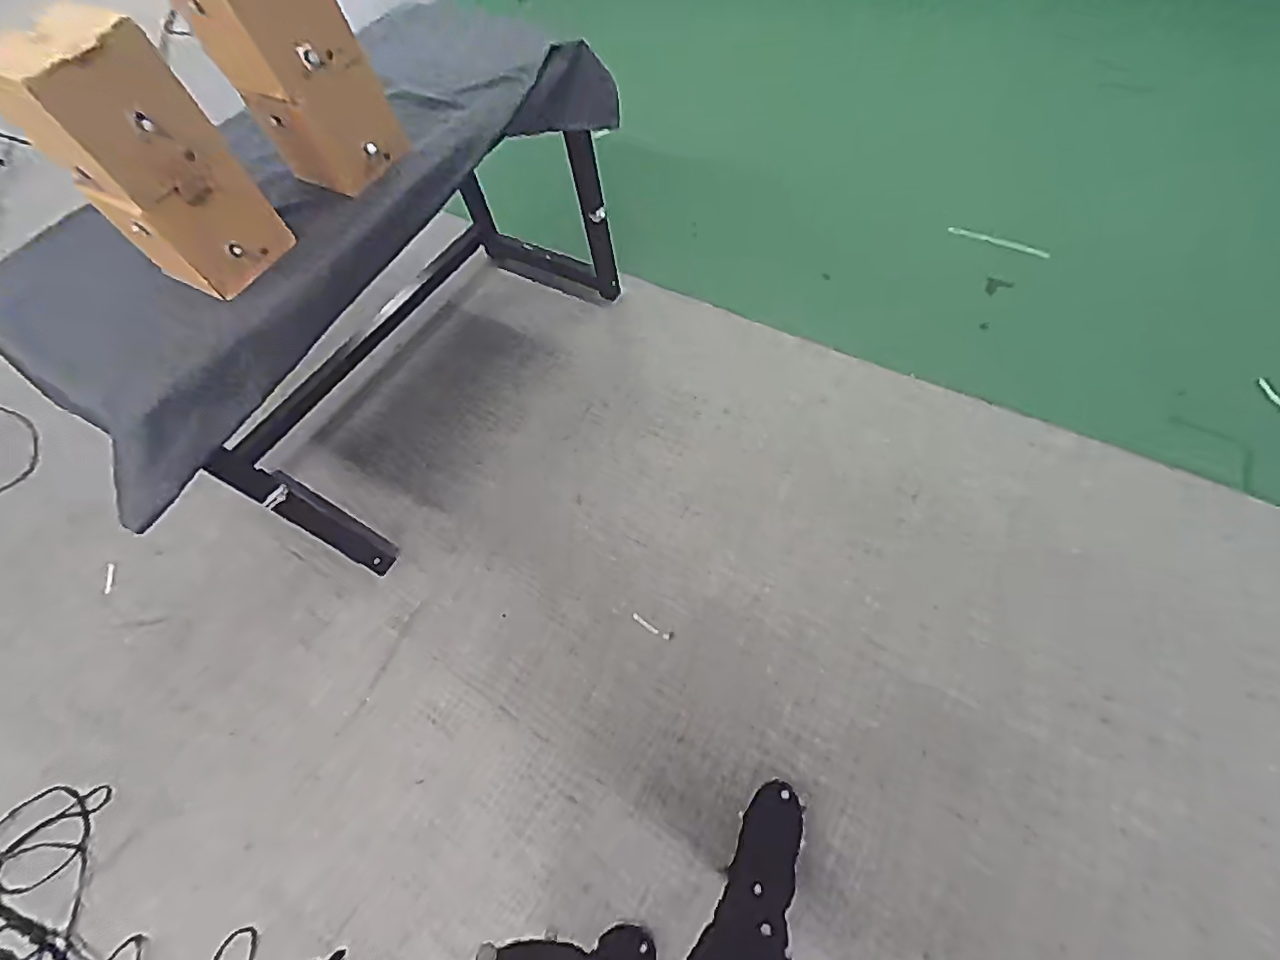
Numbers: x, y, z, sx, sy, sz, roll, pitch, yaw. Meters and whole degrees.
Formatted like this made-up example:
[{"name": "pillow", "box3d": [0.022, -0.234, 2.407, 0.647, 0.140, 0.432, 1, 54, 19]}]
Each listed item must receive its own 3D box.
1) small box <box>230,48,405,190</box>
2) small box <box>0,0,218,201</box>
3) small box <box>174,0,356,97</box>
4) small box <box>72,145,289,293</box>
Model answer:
[{"name": "small box", "box3d": [-0.580, -0.668, 0.994, 0.179, 0.176, 0.168, 25, 68, 19]}, {"name": "small box", "box3d": [-0.753, -0.519, 0.750, 0.179, 0.176, 0.168, 23, 66, 17]}, {"name": "small box", "box3d": [-0.600, -0.743, 0.851, 0.179, 0.176, 0.168, 27, 69, 19]}, {"name": "small box", "box3d": [-0.741, -0.438, 0.892, 0.179, 0.176, 0.168, 24, 67, 18]}]
